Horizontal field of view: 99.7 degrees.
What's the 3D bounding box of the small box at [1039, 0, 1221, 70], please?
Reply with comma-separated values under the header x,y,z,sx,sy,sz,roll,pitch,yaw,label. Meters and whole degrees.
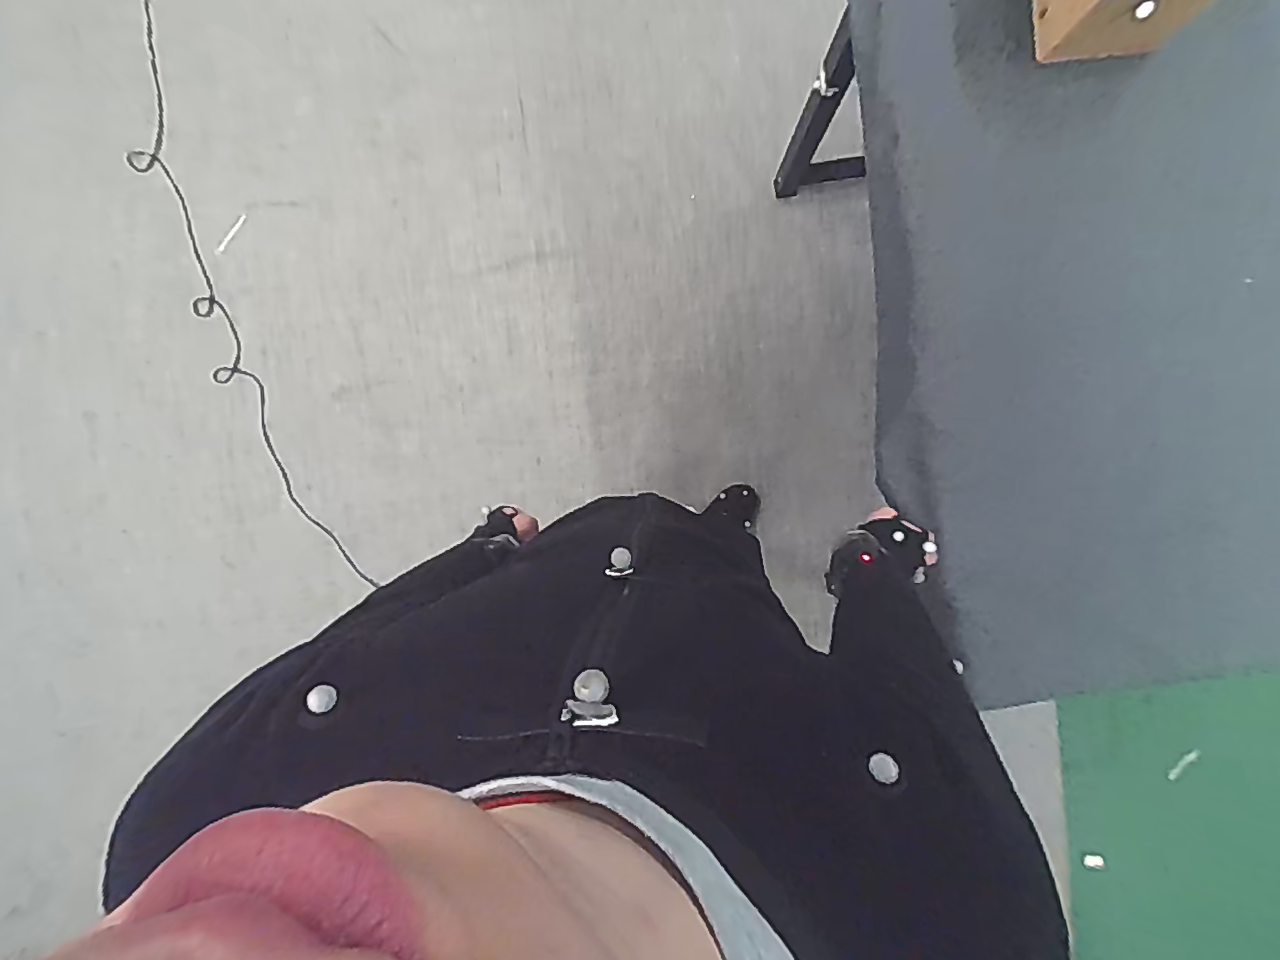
x,y,z,sx,sy,sz,roll,pitch,yaw,label
0.672,-0.691,0.724,0.179,0.176,0.168,-5,91,2,small box
